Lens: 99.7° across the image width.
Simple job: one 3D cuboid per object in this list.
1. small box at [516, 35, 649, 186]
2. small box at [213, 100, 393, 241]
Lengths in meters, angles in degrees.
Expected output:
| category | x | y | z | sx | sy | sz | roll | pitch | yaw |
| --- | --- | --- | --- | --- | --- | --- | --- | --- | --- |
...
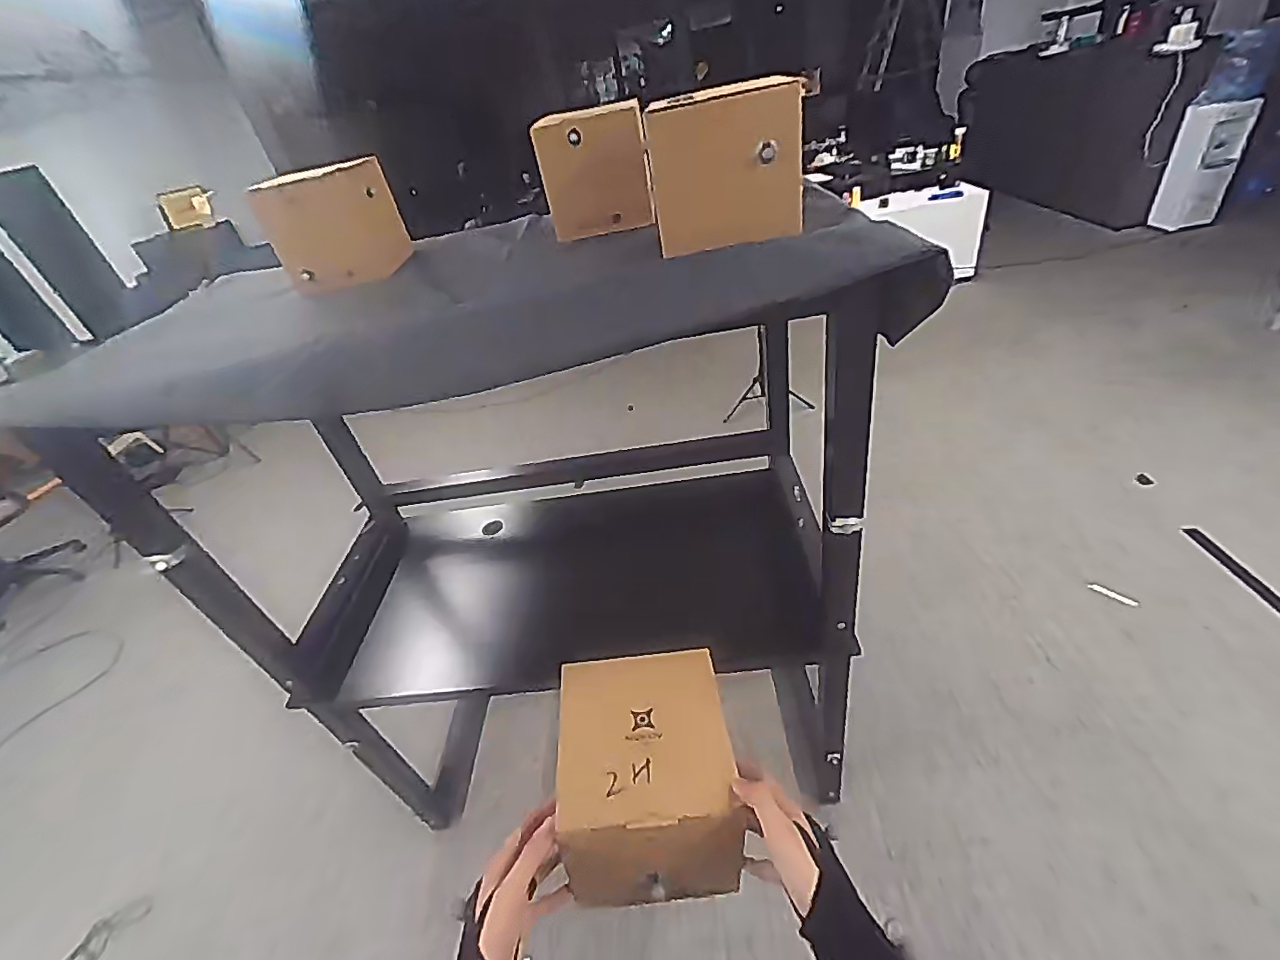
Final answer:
| category | x | y | z | sx | sy | sz | roll | pitch | yaw |
| --- | --- | --- | --- | --- | --- | --- | --- | --- | --- |
| small box | -0.081 | -0.585 | 0.865 | 0.168 | 0.176 | 0.179 | -8 | 38 | 7 |
| small box | -0.546 | -0.516 | 0.909 | 0.168 | 0.176 | 0.179 | -10 | 38 | 3 |
